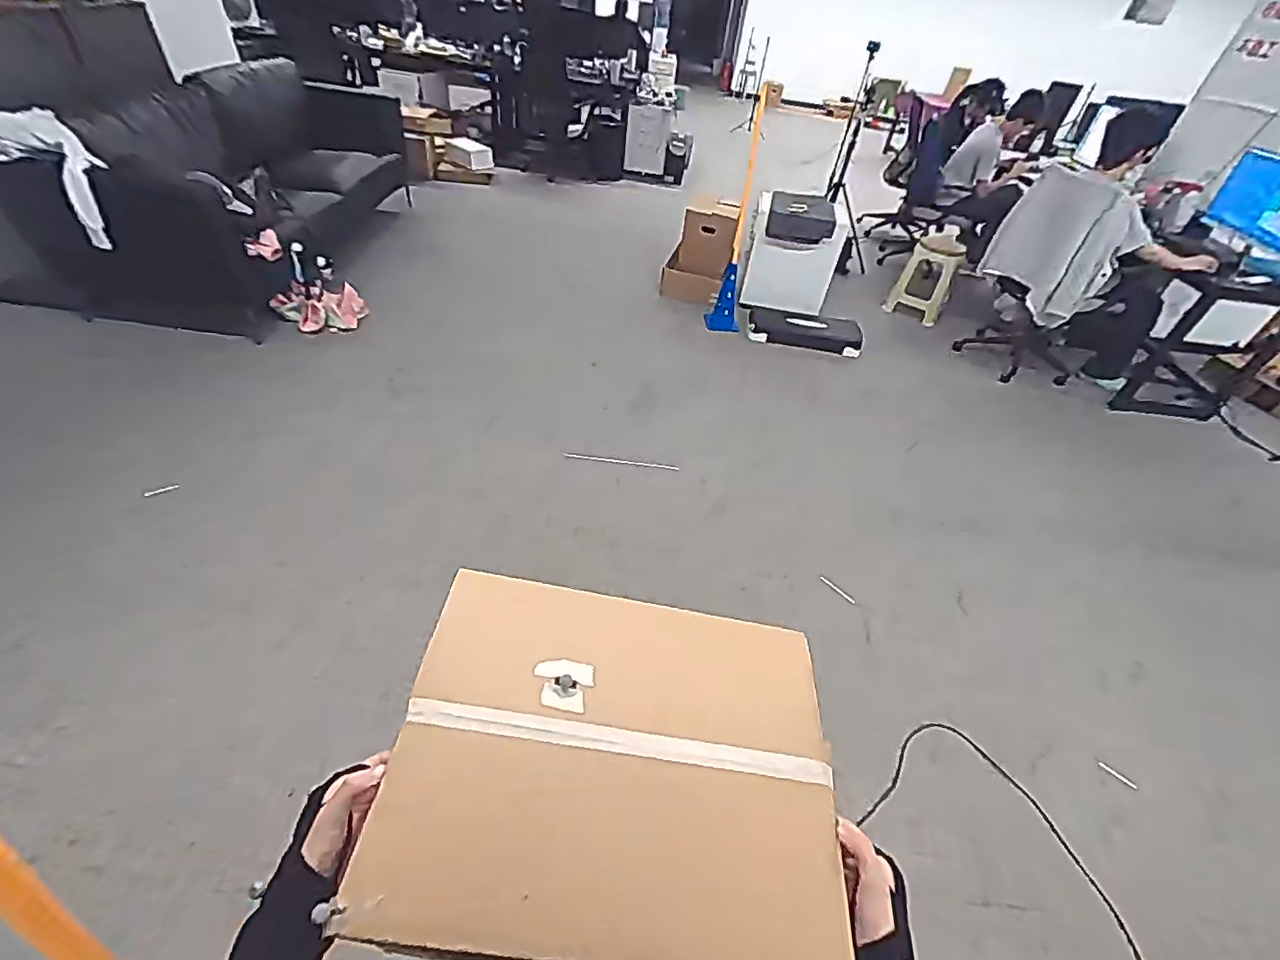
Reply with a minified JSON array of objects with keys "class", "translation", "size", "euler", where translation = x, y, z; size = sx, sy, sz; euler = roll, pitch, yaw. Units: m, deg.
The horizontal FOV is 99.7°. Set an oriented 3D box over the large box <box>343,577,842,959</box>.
[{"class":"large box","translation":[-0.044,0.352,0.628],"size":[0.408,0.320,0.320],"euler":[11,46,-5]}]
